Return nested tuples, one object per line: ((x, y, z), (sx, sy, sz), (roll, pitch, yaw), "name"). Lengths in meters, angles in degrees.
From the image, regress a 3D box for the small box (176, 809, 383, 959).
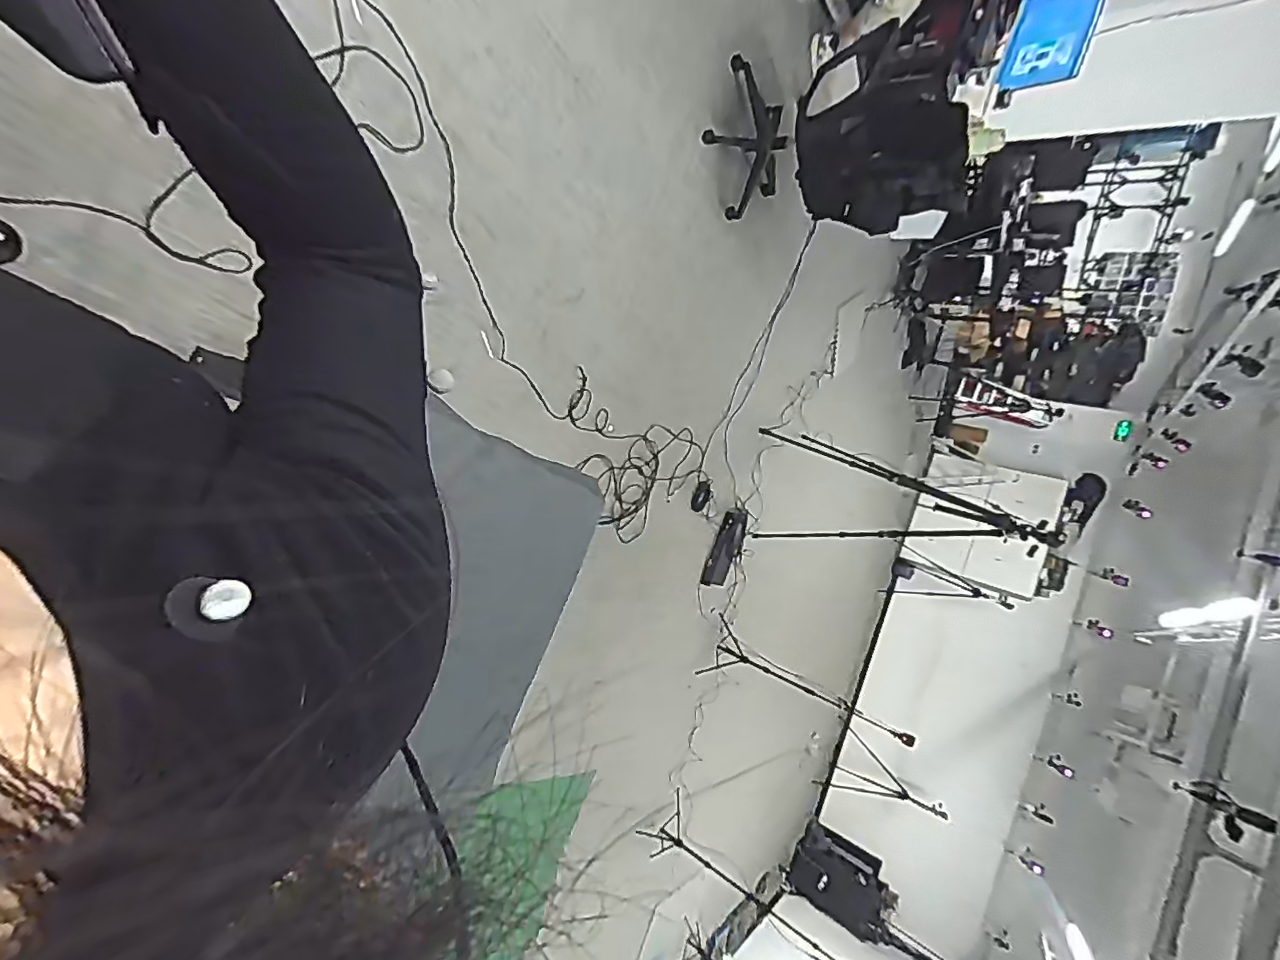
((-0.519, 0.616, 0.777), (0.168, 0.176, 0.179), (37, 74, -55), "small box")

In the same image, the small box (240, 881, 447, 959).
((-0.392, 0.649, 0.682), (0.179, 0.176, 0.168), (43, 68, -52), "small box")
